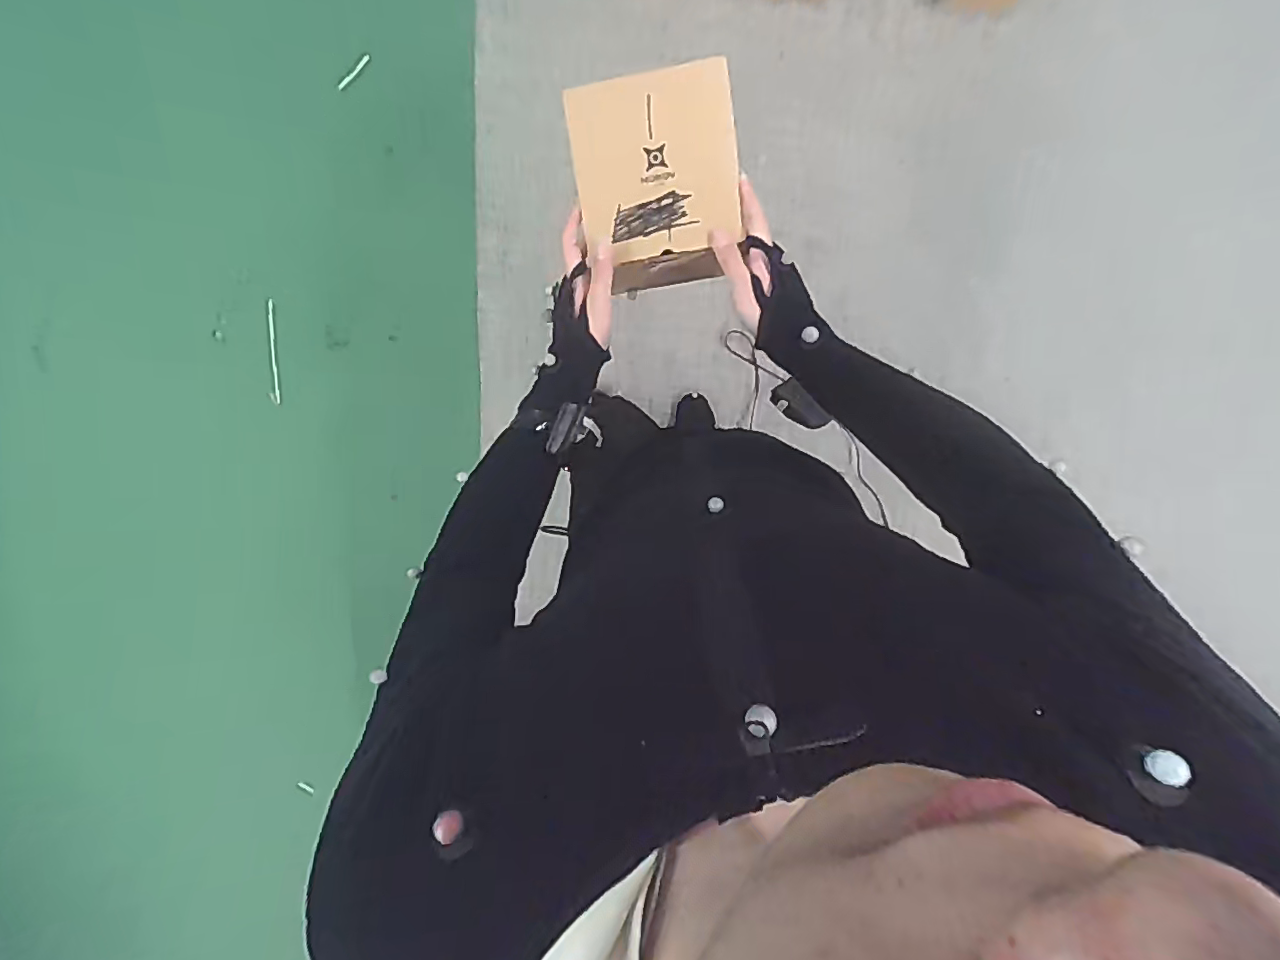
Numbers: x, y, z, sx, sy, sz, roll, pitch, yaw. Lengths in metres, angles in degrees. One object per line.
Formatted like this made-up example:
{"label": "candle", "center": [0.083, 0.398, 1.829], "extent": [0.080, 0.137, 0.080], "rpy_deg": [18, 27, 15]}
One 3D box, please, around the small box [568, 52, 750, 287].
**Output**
{"label": "small box", "center": [0.026, -0.325, 0.609], "extent": [0.168, 0.176, 0.179], "rpy_deg": [-7, 98, 5]}
